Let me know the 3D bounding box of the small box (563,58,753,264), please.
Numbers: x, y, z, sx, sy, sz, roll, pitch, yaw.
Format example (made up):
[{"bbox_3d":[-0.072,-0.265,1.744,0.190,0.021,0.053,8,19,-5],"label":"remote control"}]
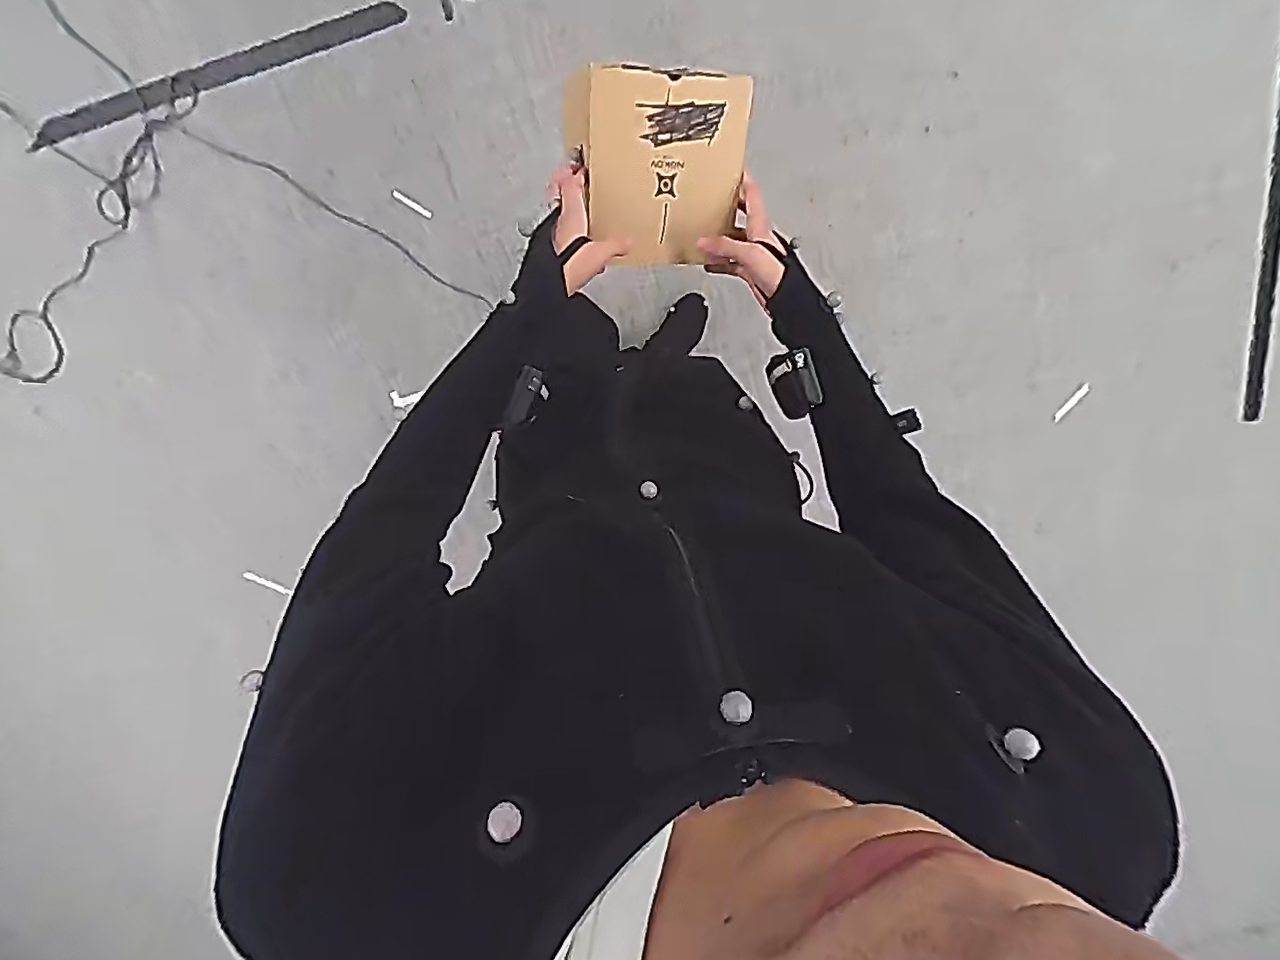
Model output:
[{"bbox_3d":[0.007,-0.352,0.610,0.168,0.176,0.179,-6,124,-13],"label":"small box"}]
